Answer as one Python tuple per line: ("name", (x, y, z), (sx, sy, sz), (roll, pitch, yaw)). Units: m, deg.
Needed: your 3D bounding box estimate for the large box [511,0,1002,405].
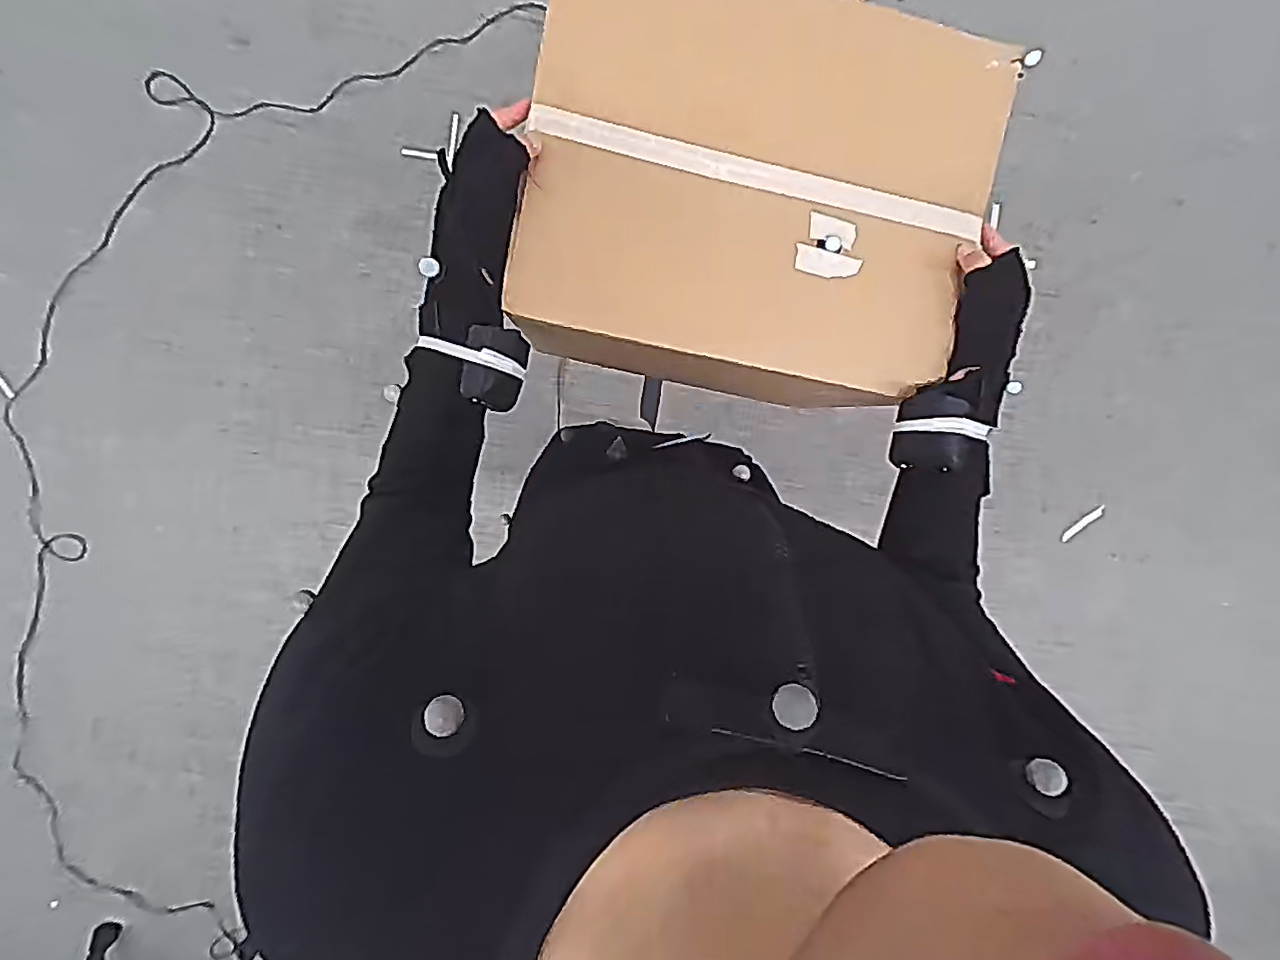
("large box", (0.089, -0.274, 0.622), (0.408, 0.320, 0.320), (11, 97, -8))
